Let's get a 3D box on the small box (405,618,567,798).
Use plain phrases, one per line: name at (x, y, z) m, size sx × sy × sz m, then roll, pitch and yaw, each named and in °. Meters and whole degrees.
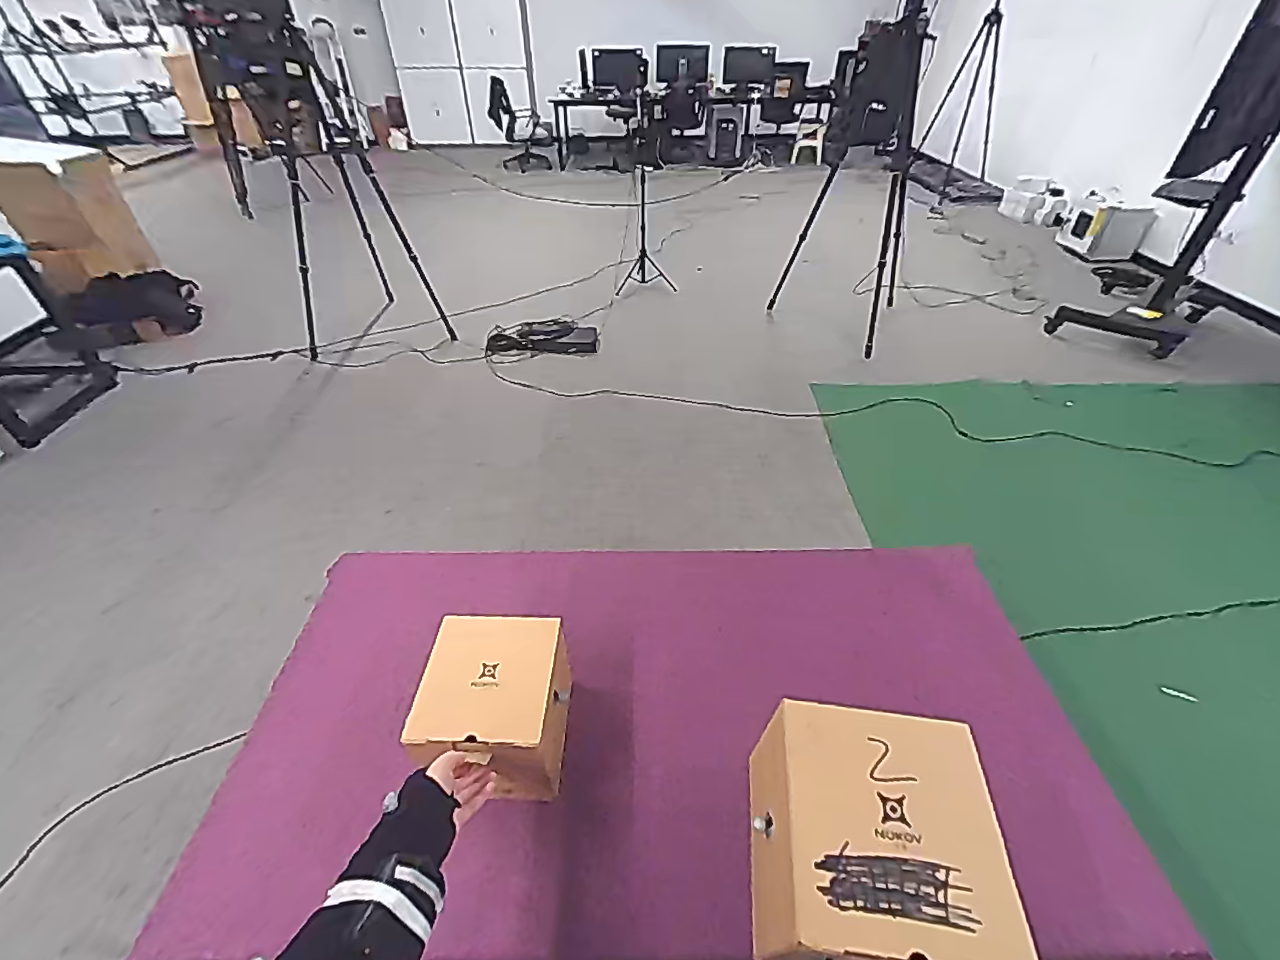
small box at (-0.197, 0.315, 0.754) m, size 0.168 × 0.176 × 0.179 m, roll 1°, pitch 41°, yaw 1°
